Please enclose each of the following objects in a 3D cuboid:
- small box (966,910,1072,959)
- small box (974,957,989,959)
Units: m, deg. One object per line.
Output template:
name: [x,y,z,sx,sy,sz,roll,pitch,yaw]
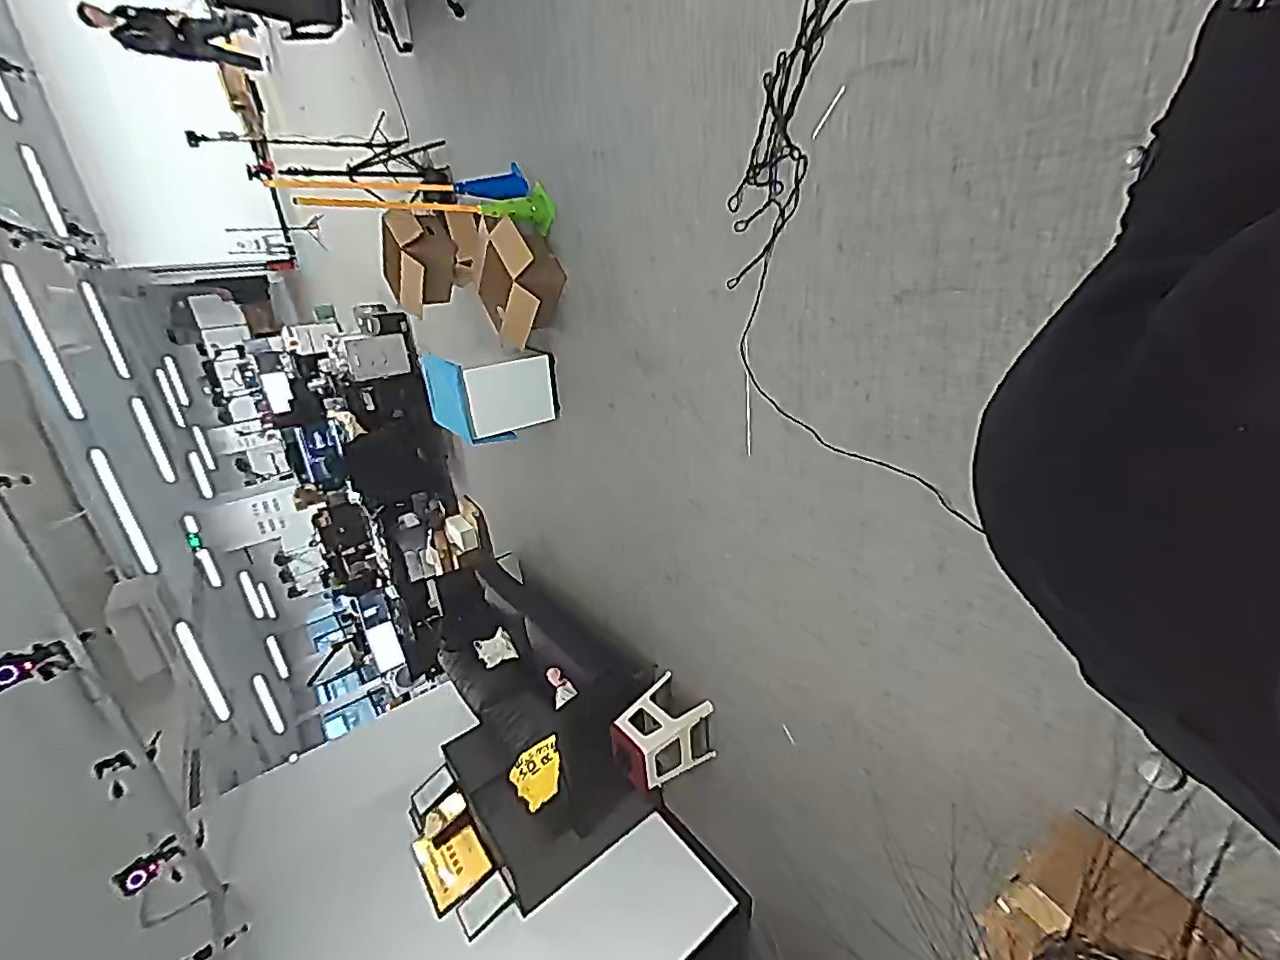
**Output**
small box: [0.971,1.252,1.375,0.168,0.176,0.179,42,139,36]
small box: [0.836,1.297,1.295,0.179,0.176,0.168,42,140,35]
